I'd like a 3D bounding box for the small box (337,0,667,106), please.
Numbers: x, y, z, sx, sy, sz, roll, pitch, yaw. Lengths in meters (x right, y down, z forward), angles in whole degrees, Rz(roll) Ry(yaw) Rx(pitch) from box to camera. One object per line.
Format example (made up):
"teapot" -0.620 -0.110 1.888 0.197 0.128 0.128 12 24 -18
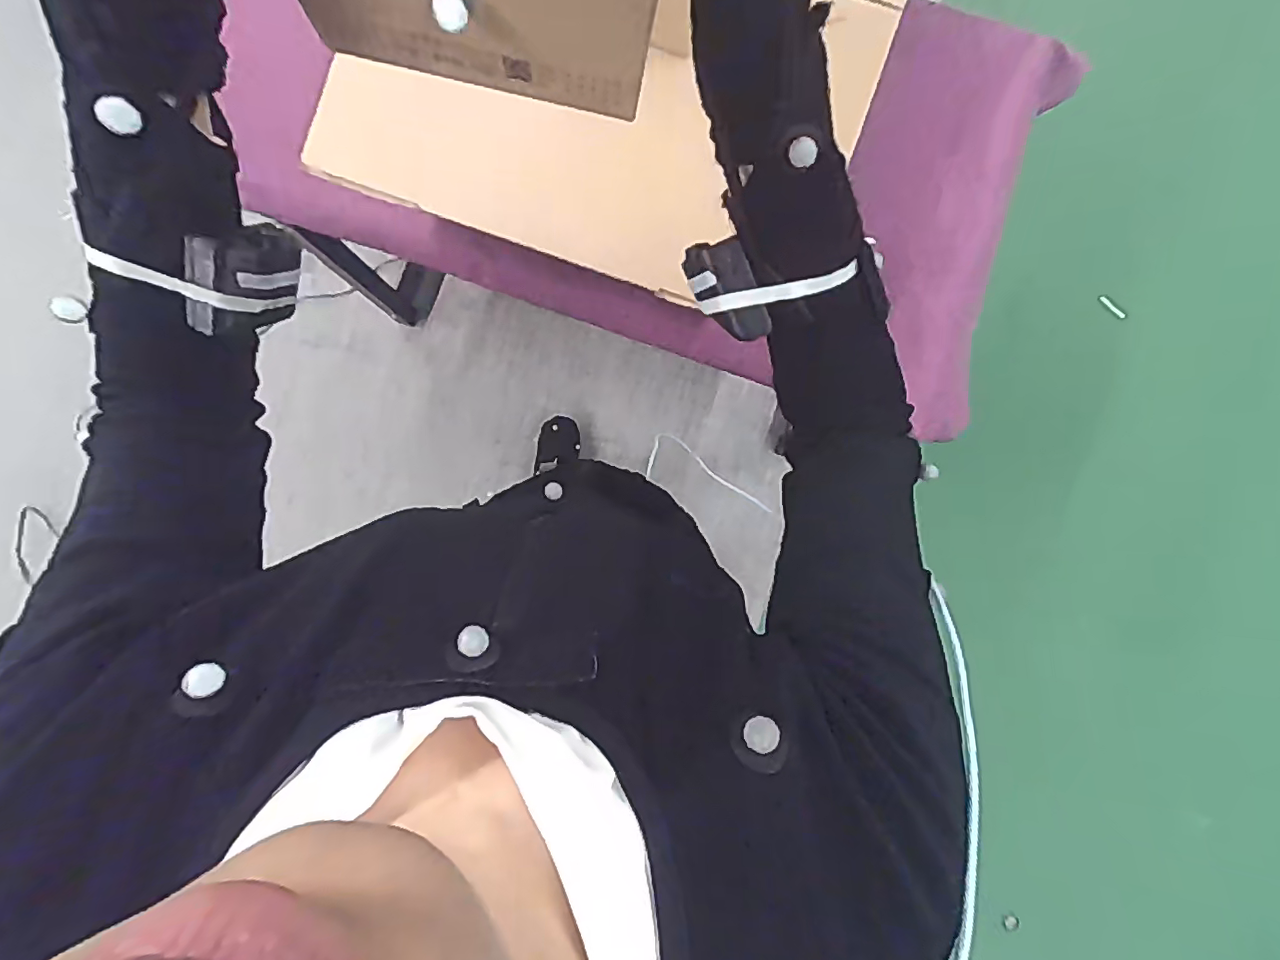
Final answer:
"small box" -0.054 -0.298 0.205 0.168 0.176 0.179 12 88 -4

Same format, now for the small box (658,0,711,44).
"small box" 0.010 -0.598 0.543 0.168 0.176 0.179 18 86 1
